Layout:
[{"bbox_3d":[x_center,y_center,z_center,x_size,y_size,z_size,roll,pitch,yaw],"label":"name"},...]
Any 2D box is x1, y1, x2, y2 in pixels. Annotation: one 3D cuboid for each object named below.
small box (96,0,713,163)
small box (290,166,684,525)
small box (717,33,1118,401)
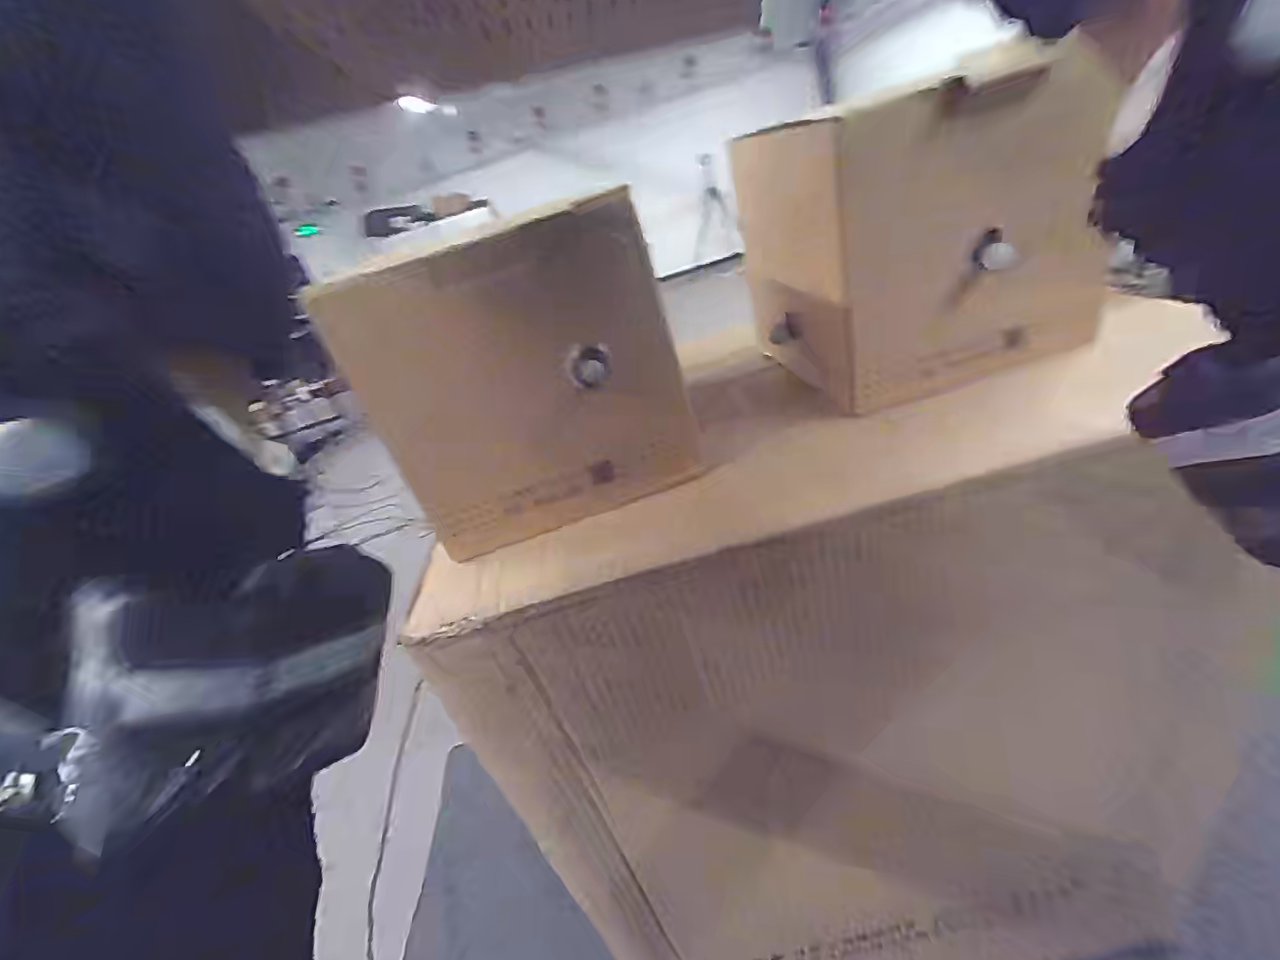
[{"bbox_3d":[-0.074,-0.223,0.143,0.179,0.176,0.168,-14,59,0],"label":"small box"},{"bbox_3d":[-0.085,-0.090,0.364,0.168,0.176,0.179,-22,31,-5],"label":"small box"},{"bbox_3d":[0.169,-0.171,0.381,0.168,0.176,0.179,-18,31,-1],"label":"small box"}]
